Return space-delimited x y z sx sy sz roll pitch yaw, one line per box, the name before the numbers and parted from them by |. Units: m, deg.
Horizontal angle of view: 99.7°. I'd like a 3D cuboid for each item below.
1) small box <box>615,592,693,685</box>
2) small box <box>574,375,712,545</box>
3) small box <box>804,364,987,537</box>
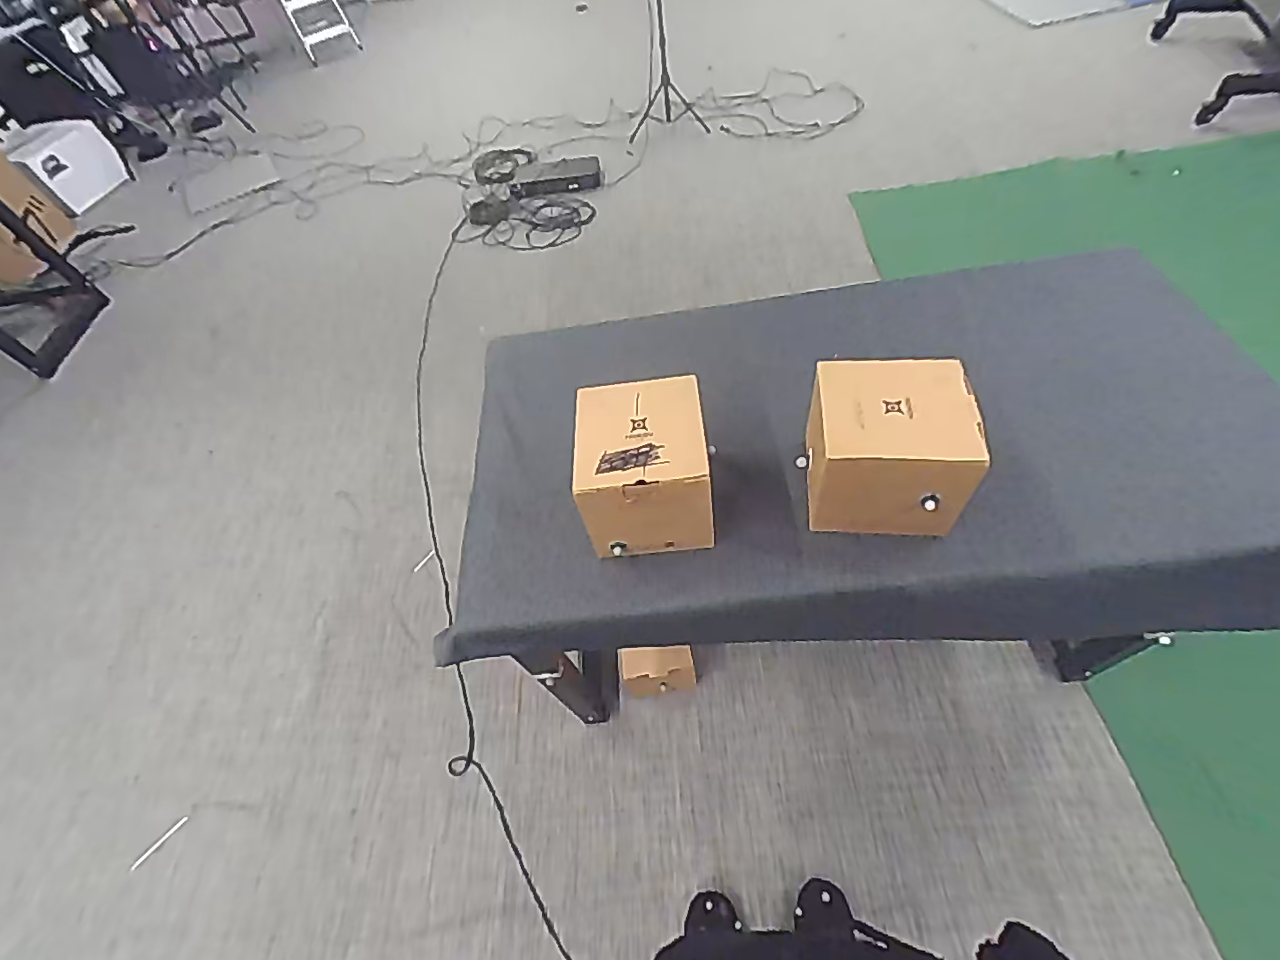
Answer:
small box | 0.036 0.403 1.354 0.168 0.176 0.179 -10 56 1
small box | 0.011 -0.019 0.753 0.168 0.176 0.179 -5 53 5
small box | 0.321 -0.036 0.722 0.179 0.176 0.168 2 55 11
